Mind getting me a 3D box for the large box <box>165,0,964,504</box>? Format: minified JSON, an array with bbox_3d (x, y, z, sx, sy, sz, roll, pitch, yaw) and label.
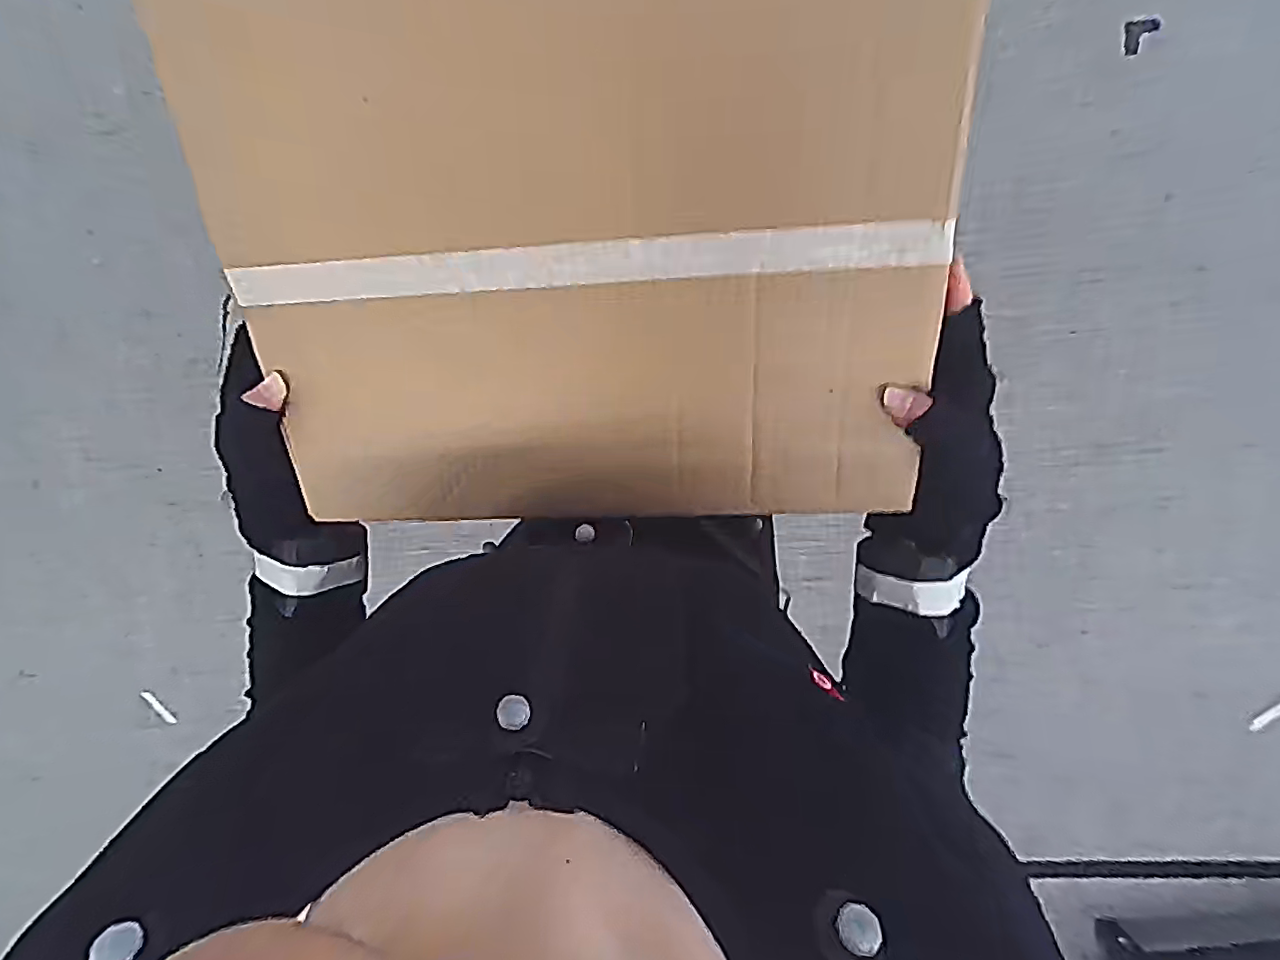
[{"bbox_3d":[-0.029,-0.189,0.446,0.408,0.320,0.320,-2,114,5],"label":"large box"}]
